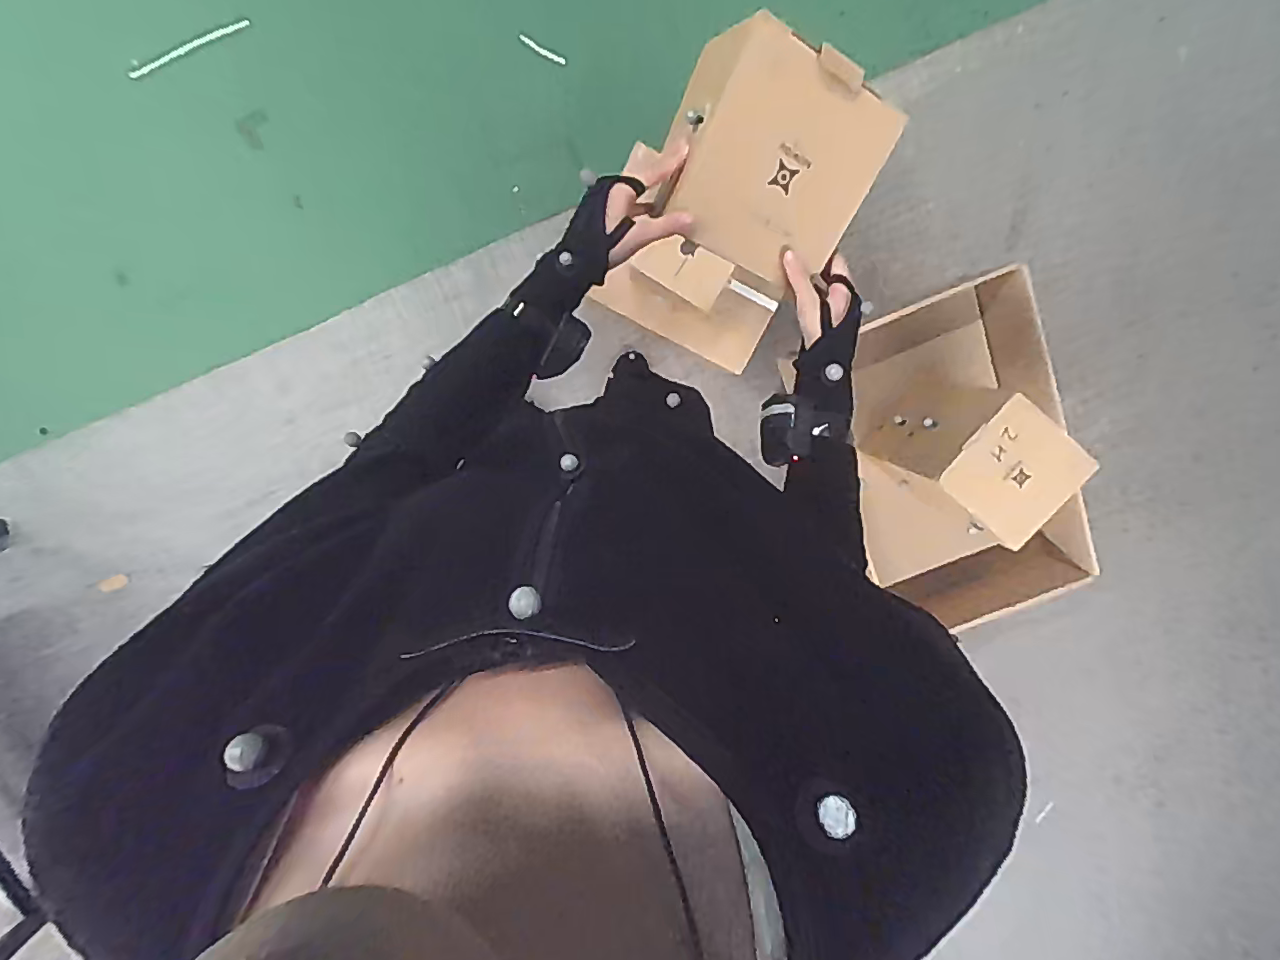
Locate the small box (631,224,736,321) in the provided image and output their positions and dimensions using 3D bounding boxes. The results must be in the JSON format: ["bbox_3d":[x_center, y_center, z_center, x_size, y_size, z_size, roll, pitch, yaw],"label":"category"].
[{"bbox_3d":[0.093,-0.418,1.013,0.168,0.176,0.179,30,101,-7],"label":"small box"}]

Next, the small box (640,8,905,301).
[{"bbox_3d":[0.113,-0.313,0.547,0.168,0.176,0.179,19,115,-20],"label":"small box"}]

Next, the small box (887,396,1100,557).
[{"bbox_3d":[0.529,-0.018,0.836,0.179,0.176,0.168,38,99,-8],"label":"small box"}]
